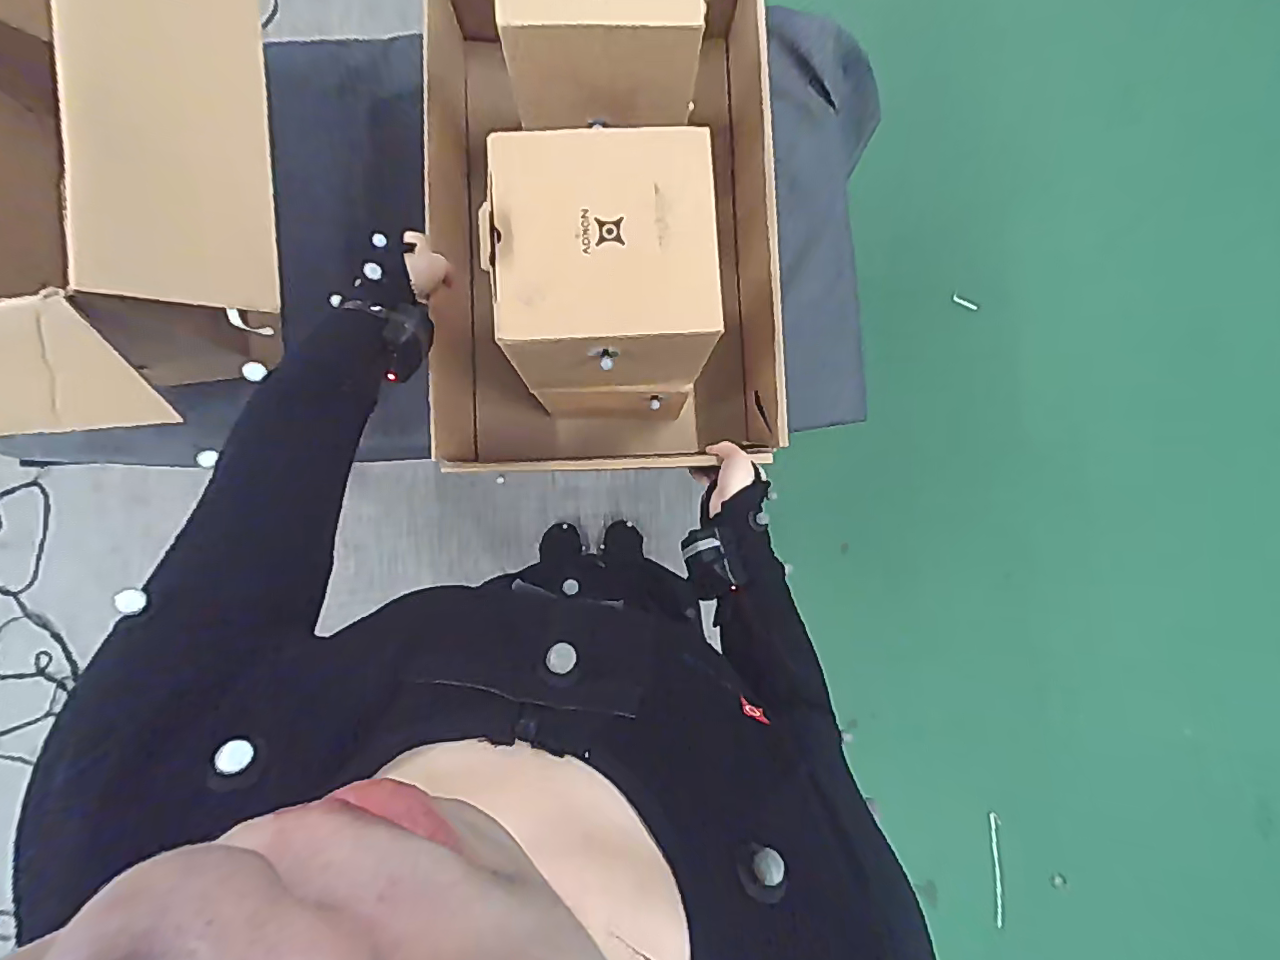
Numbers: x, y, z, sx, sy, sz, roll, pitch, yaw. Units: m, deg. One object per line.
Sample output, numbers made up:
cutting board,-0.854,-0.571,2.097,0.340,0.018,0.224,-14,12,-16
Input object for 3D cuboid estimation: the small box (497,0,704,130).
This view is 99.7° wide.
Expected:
small box,-0.035,-0.441,0.505,0.168,0.176,0.179,-1,90,-2

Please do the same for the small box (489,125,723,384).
small box,-0.030,-0.188,0.497,0.179,0.176,0.168,-4,88,-3
